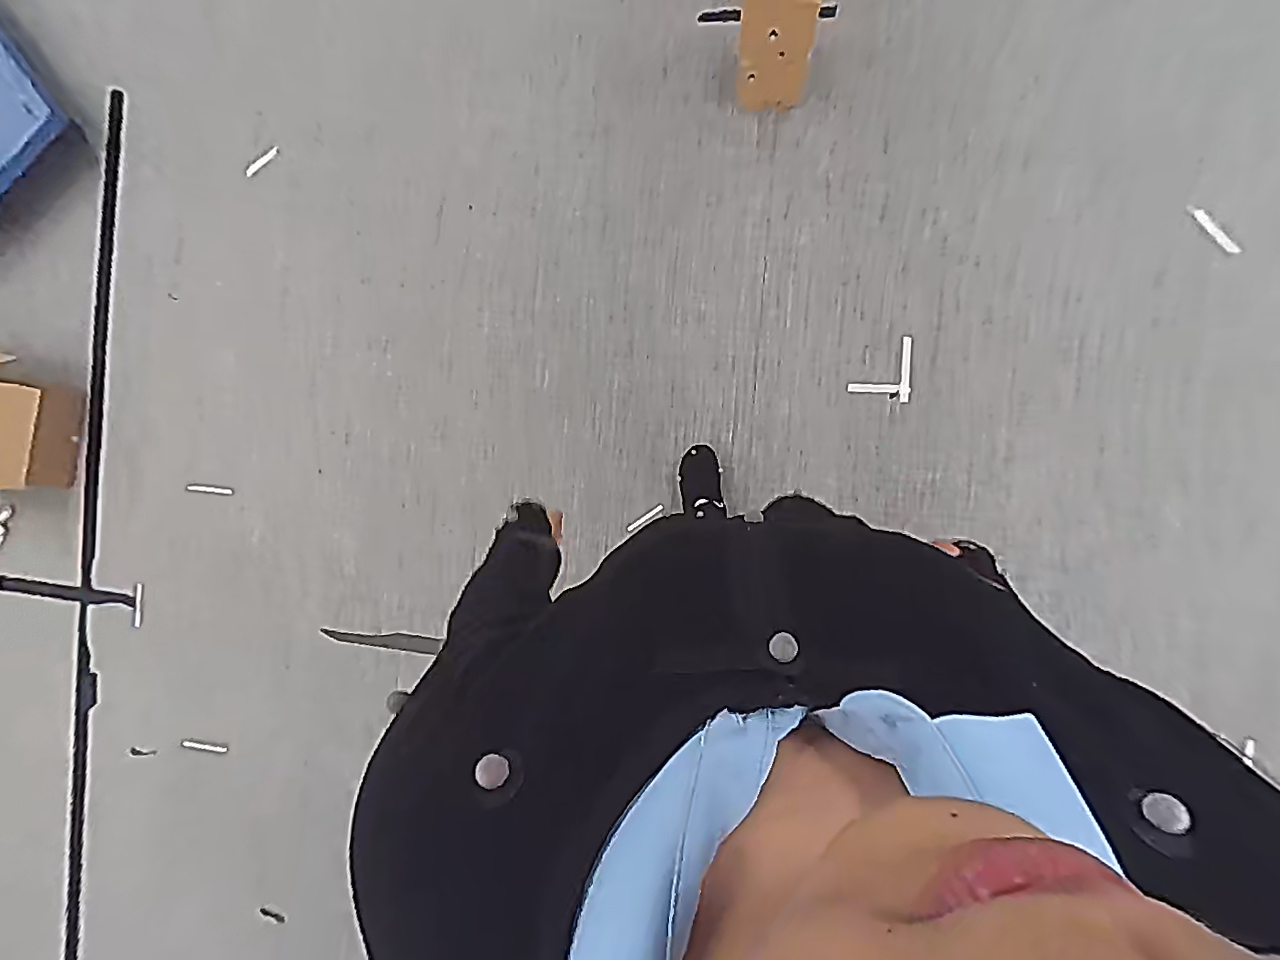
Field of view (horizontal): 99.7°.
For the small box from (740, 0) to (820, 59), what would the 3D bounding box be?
[{"bbox_3d":[0.320,-1.089,1.208,0.168,0.176,0.179,9,91,7],"label":"small box"}]
